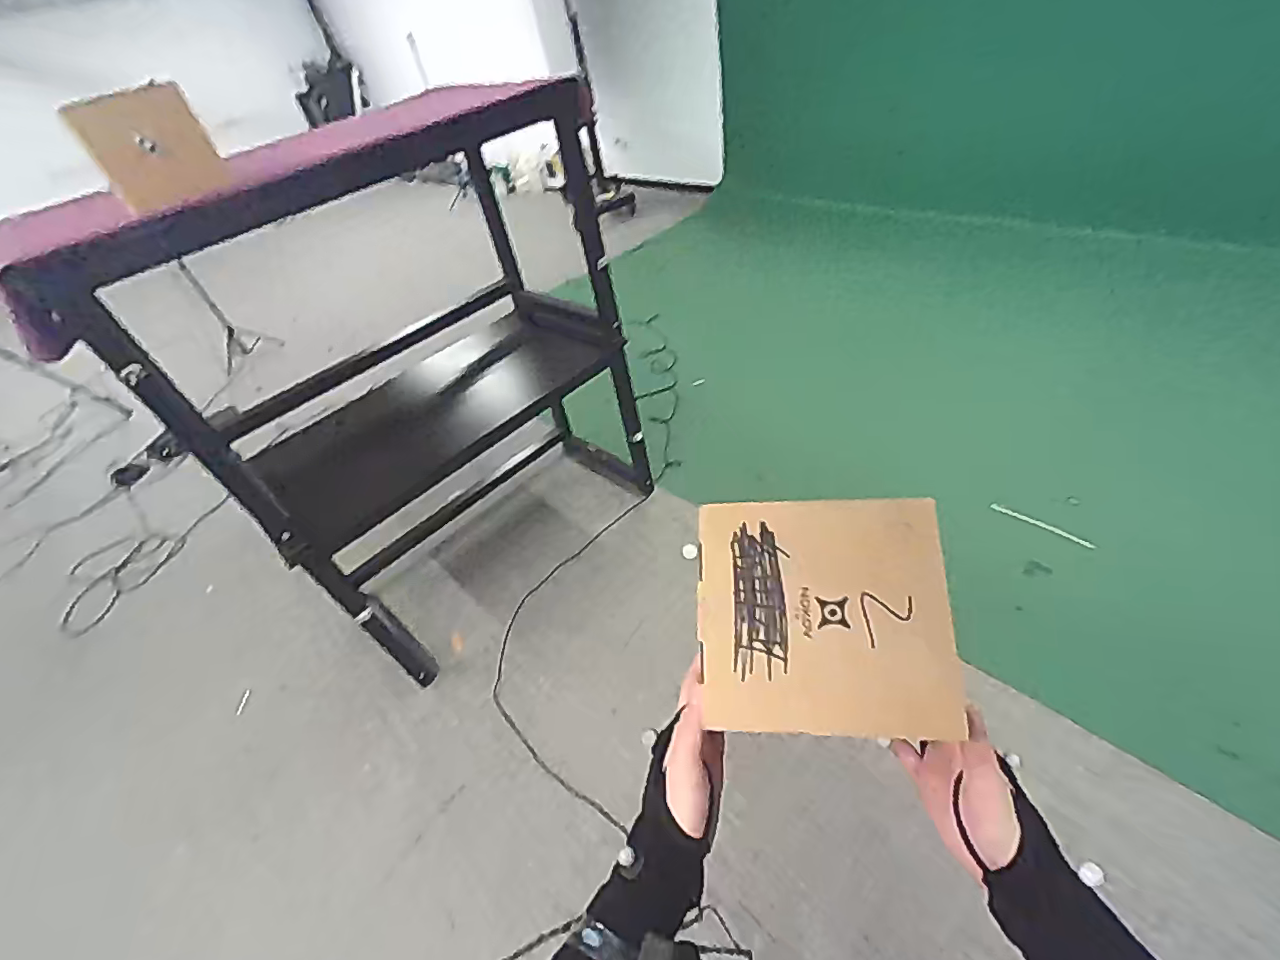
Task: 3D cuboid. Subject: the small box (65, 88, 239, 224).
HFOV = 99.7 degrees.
[{"bbox_3d":[-0.875,-0.591,0.985,0.179,0.176,0.168,-39,47,-25],"label":"small box"}]
